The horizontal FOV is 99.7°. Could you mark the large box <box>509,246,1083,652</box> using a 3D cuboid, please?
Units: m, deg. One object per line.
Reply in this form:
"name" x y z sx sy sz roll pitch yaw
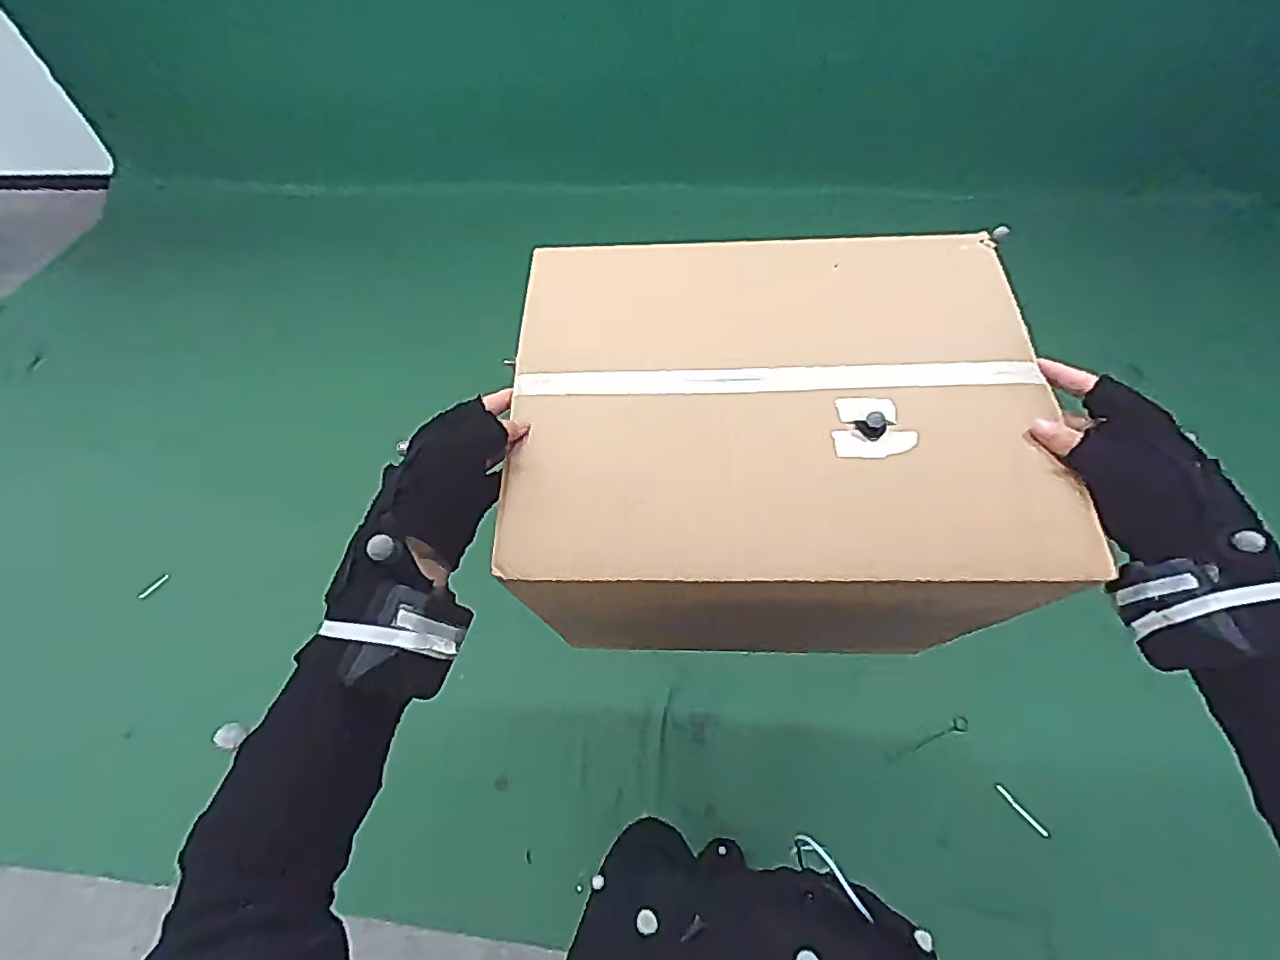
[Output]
"large box" 0.109 -0.005 0.571 0.408 0.320 0.320 -2 65 3
